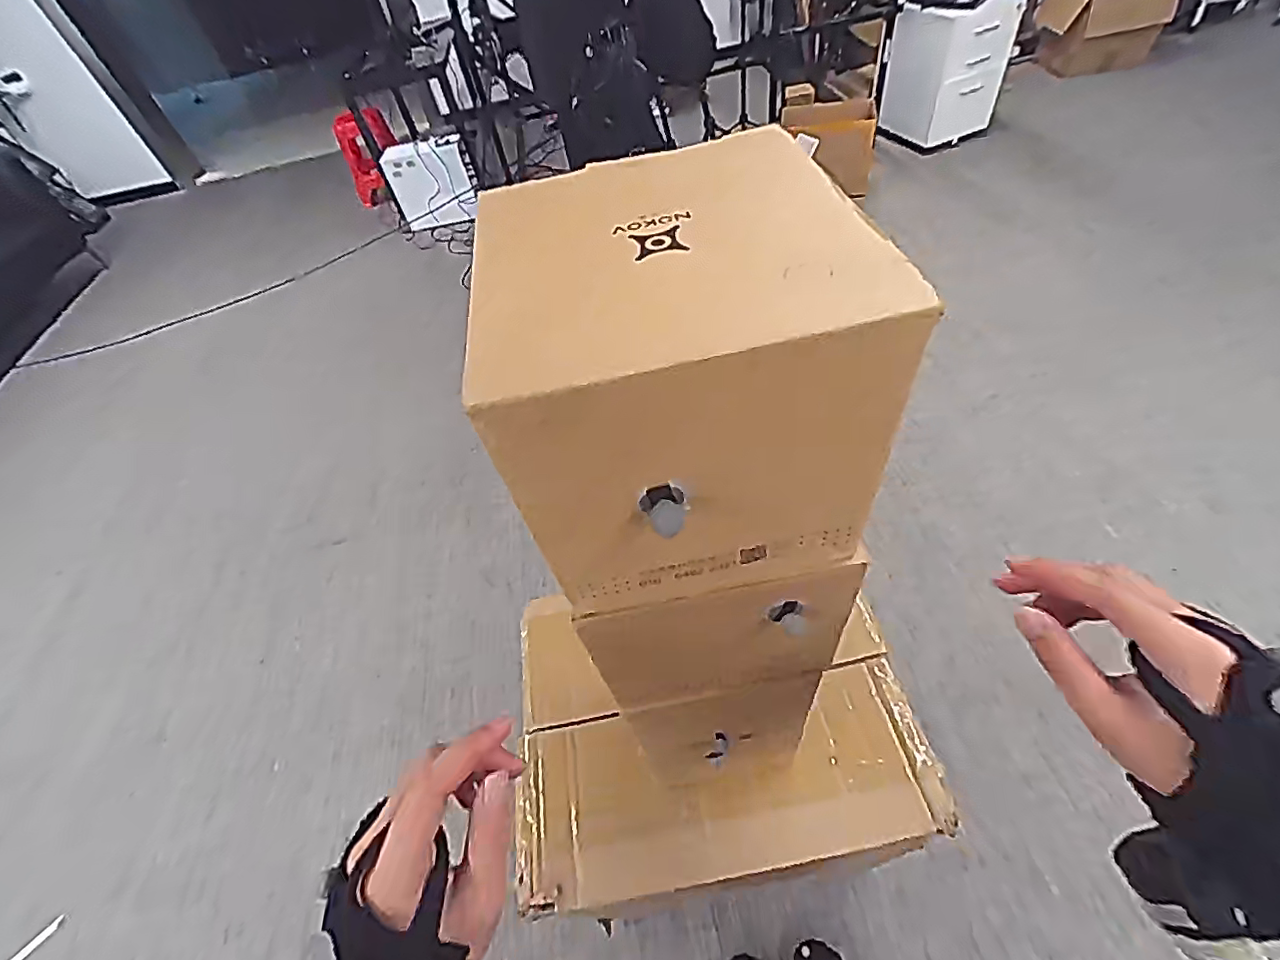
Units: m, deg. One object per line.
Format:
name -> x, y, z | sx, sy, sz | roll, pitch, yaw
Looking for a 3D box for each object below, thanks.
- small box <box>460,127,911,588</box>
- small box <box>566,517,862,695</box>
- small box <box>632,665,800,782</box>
small box -> 0.015, -0.057, 0.300 | 0.168, 0.176, 0.179 | -13, 50, 0
small box -> 0.043, 0.048, 0.421 | 0.179, 0.176, 0.168 | -12, 50, 1
small box -> 0.085, 0.258, 0.671 | 0.179, 0.176, 0.168 | -11, 50, 1
